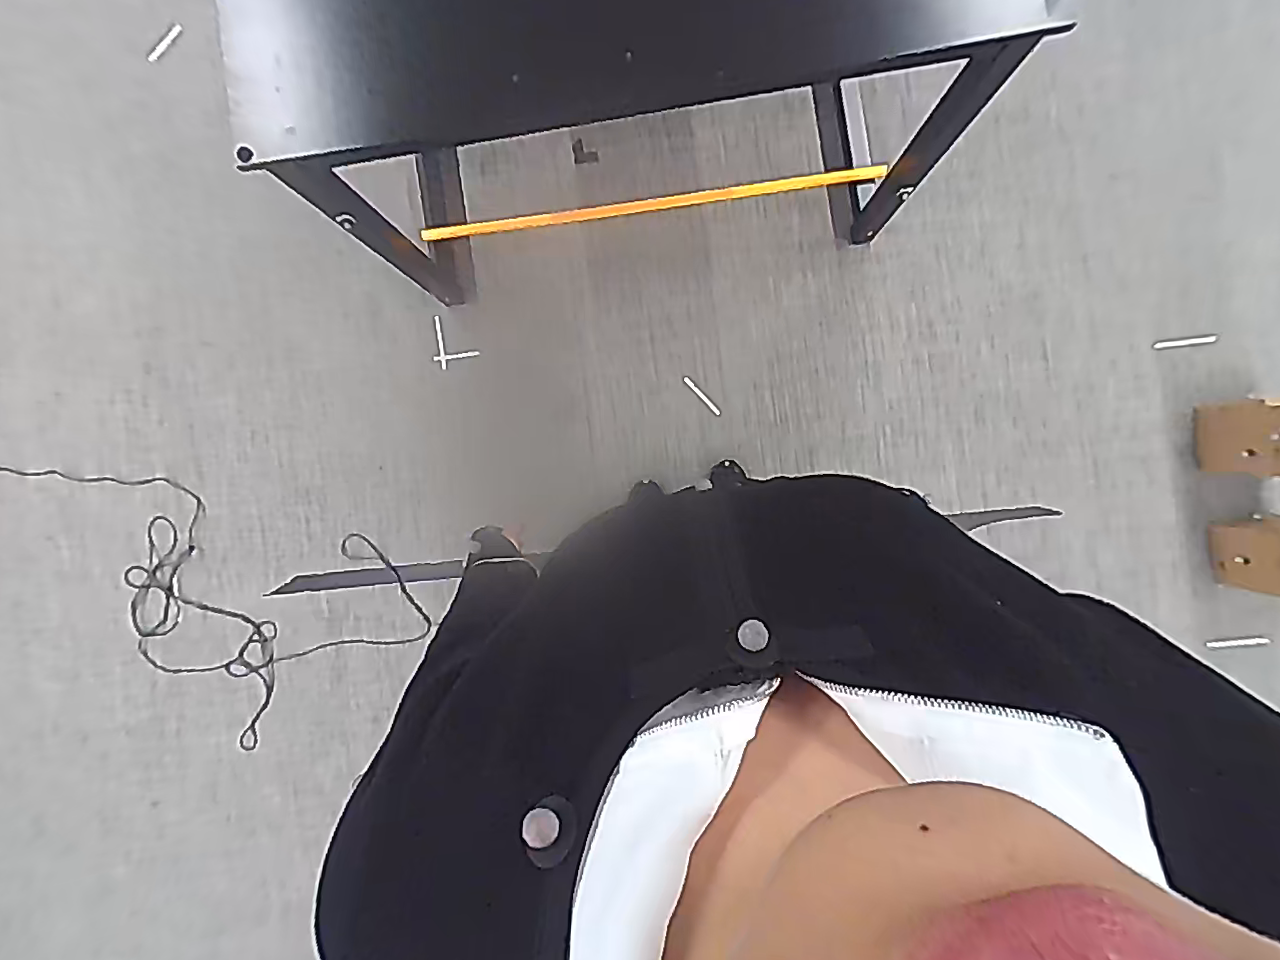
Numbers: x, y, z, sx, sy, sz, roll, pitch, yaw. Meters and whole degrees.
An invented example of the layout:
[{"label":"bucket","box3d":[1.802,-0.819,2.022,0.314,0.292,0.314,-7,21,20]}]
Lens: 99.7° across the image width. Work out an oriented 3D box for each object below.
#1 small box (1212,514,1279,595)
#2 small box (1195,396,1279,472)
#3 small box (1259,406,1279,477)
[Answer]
[{"label":"small box","box3d":[1.580,0.181,1.335,0.179,0.176,0.168,-10,90,4]},{"label":"small box","box3d":[1.534,-0.114,1.330,0.168,0.176,0.179,-6,90,3]},{"label":"small box","box3d":[1.522,-0.095,1.168,0.179,0.176,0.168,-6,90,4]}]
